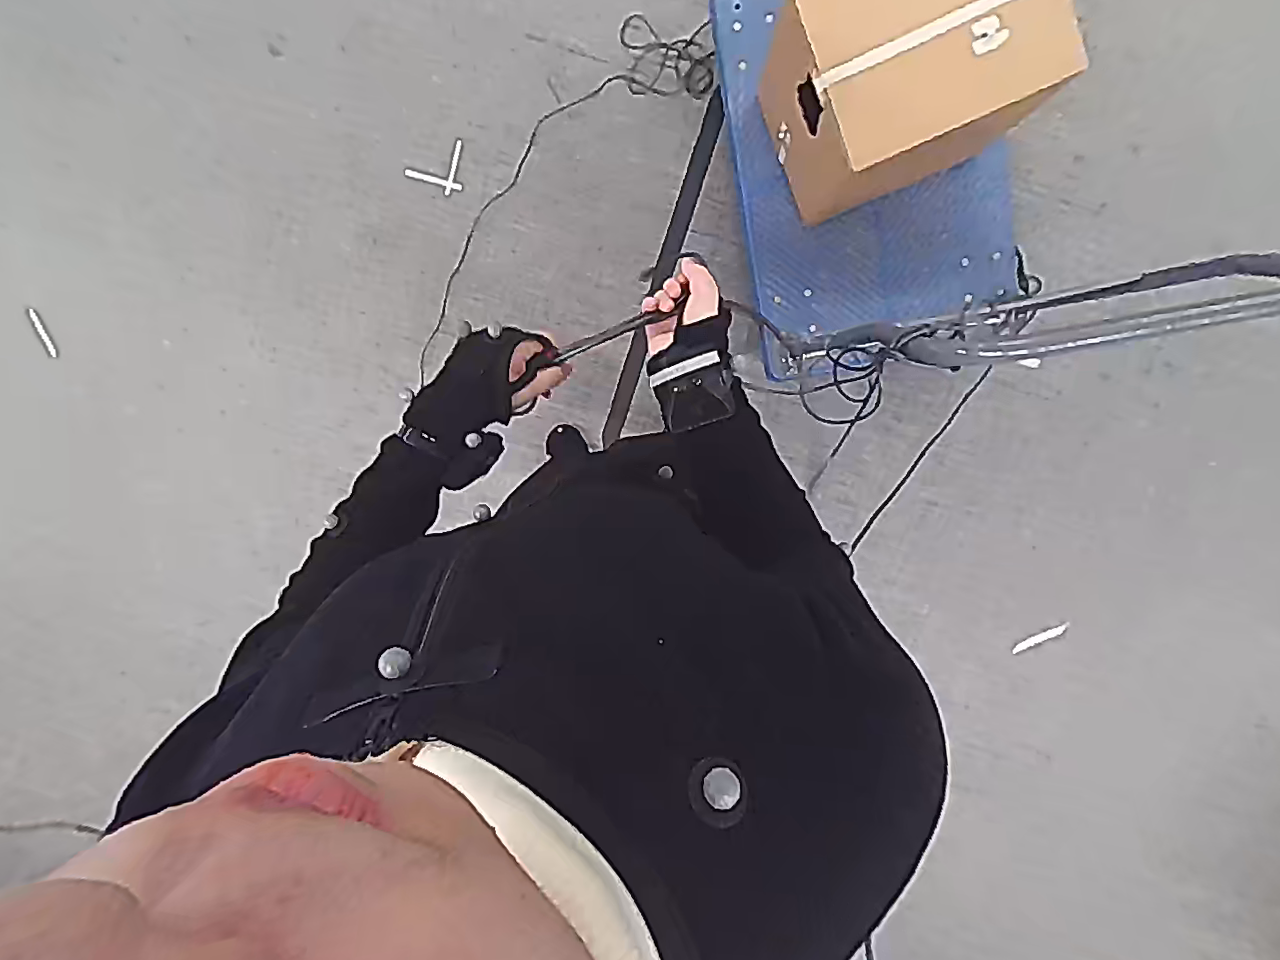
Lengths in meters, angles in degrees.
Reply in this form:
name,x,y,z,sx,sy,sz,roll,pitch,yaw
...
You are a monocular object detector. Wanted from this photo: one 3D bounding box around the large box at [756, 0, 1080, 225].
name,x,y,z,sx,sy,sz,roll,pitch,yaw
large box,0.484,-0.760,1.030,0.408,0.320,0.320,-22,97,5
